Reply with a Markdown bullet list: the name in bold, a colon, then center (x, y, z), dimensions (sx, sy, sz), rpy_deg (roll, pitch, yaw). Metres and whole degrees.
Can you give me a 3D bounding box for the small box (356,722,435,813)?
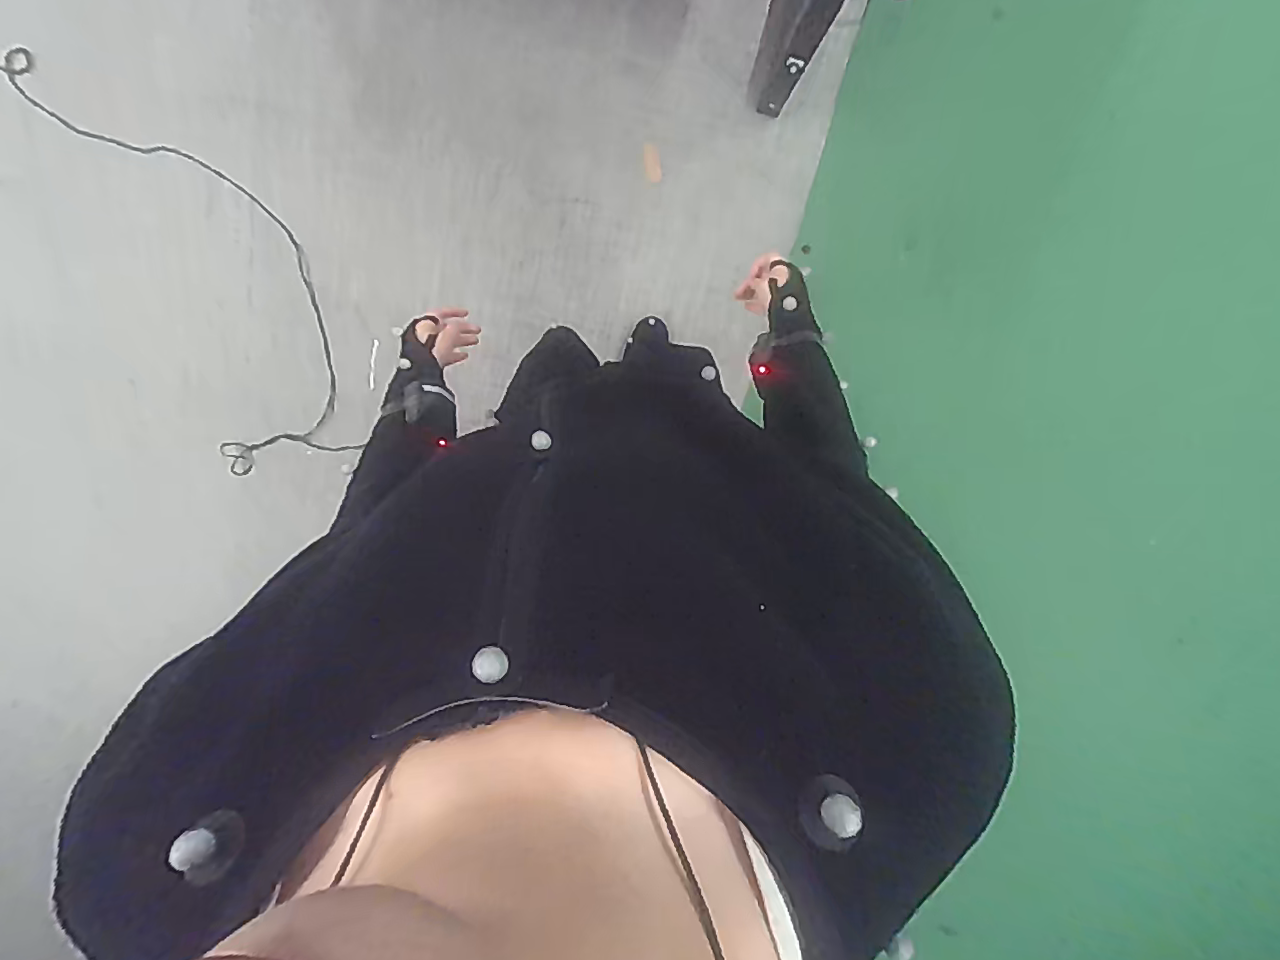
- **small box**: center (-0.756, 0.891, 1.685), dimensions (0.168, 0.176, 0.179), rpy_deg (12, 106, -3)
